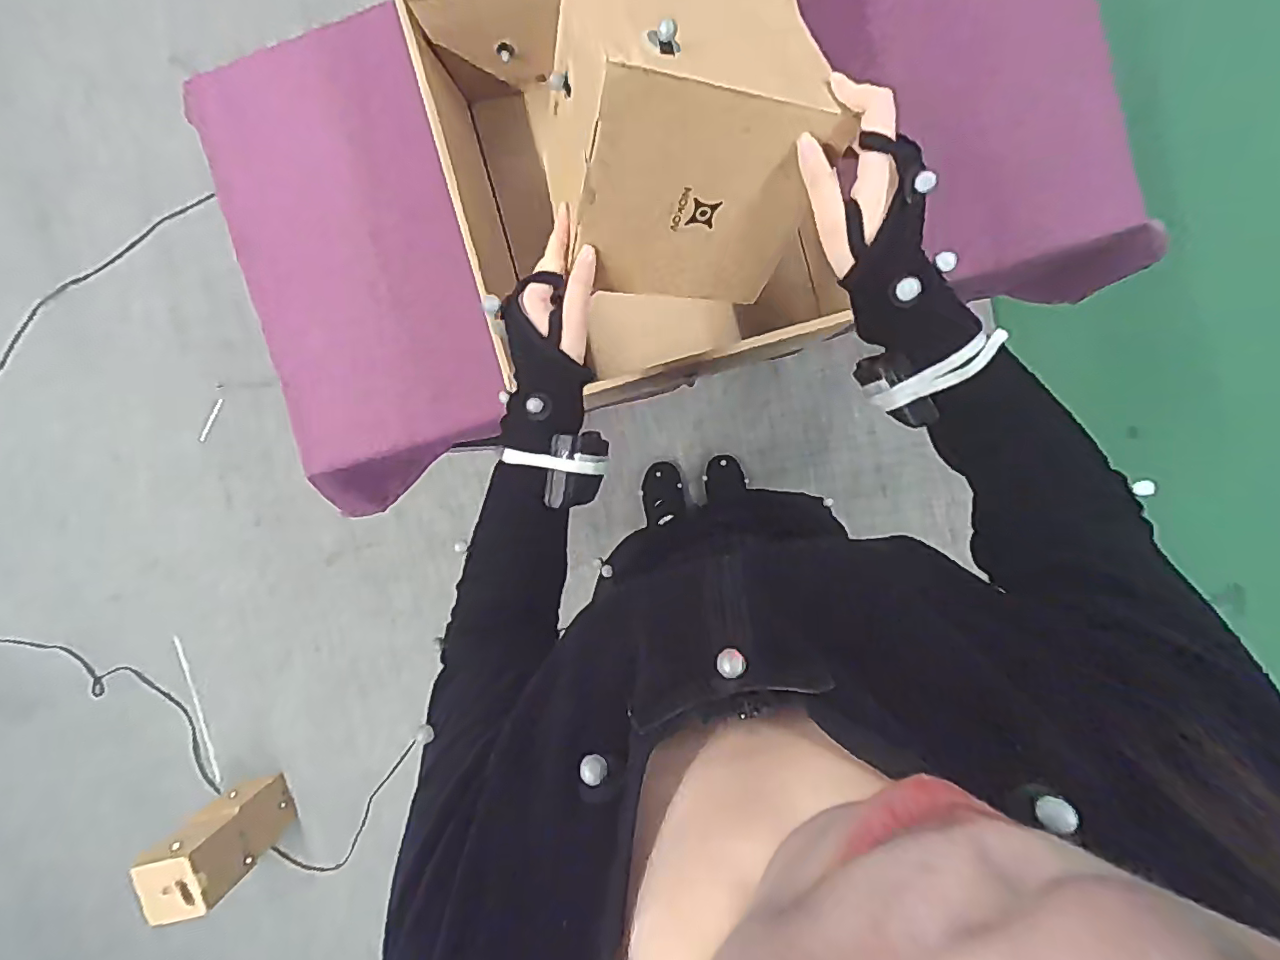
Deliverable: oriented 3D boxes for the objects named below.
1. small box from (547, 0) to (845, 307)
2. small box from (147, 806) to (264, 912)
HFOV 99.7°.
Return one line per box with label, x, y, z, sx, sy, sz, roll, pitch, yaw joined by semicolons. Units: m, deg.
small box;0.025;-0.267;0.438;0.179;0.168;0.176;-1;63;-17
small box;-1.188;1.040;1.496;0.179;0.176;0.168;-16;93;8
